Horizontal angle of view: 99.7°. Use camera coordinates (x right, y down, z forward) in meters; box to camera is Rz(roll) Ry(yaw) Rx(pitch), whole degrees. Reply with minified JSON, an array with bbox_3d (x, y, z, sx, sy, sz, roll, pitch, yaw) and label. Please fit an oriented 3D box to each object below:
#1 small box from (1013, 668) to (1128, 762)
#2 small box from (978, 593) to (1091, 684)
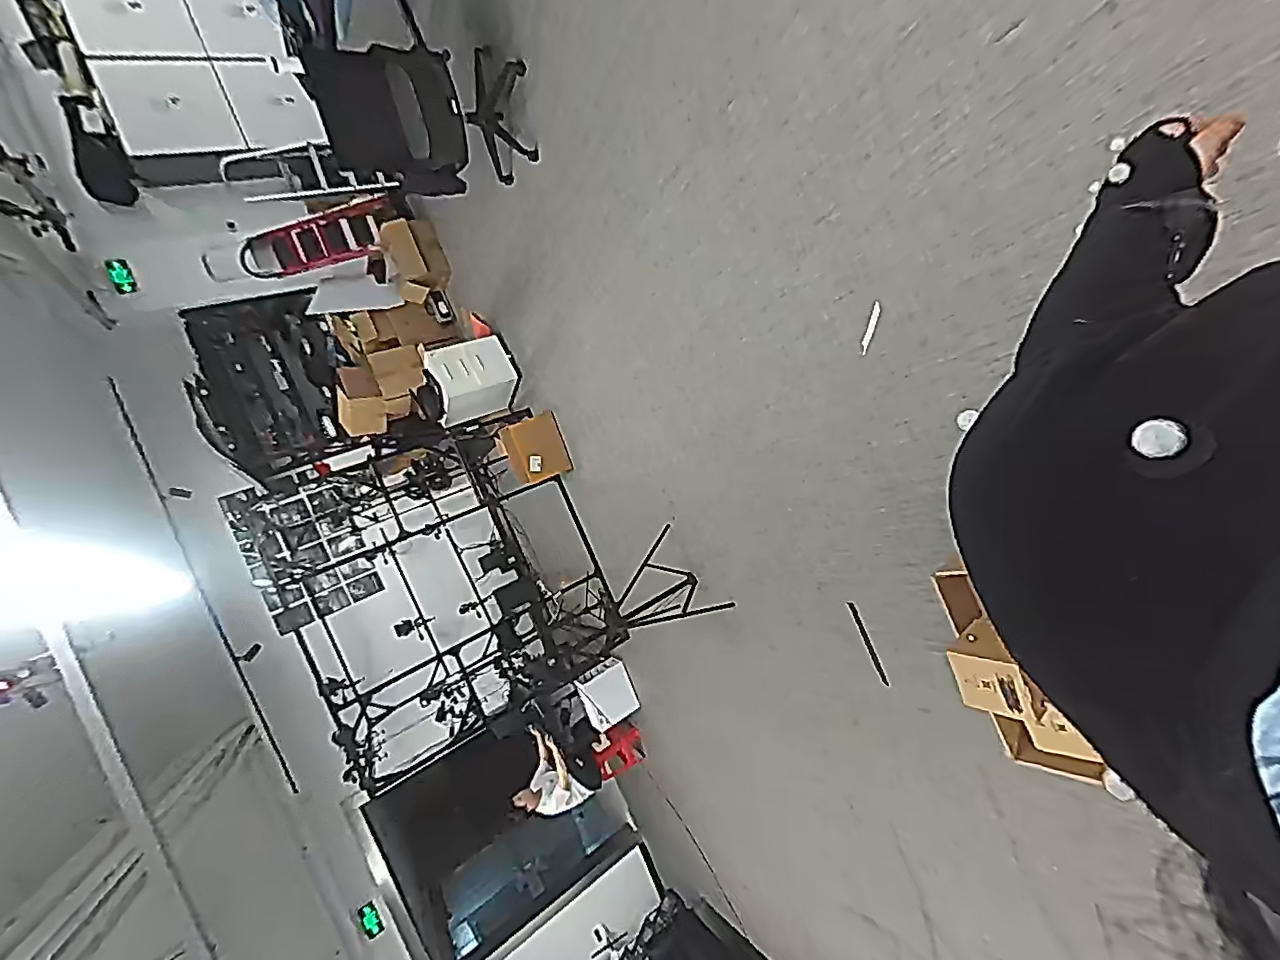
[{"bbox_3d":[1.157,0.614,1.447,0.179,0.176,0.168,-27,85,62],"label":"small box"},{"bbox_3d":[1.065,0.418,1.462,0.179,0.176,0.168,-13,102,60],"label":"small box"}]
